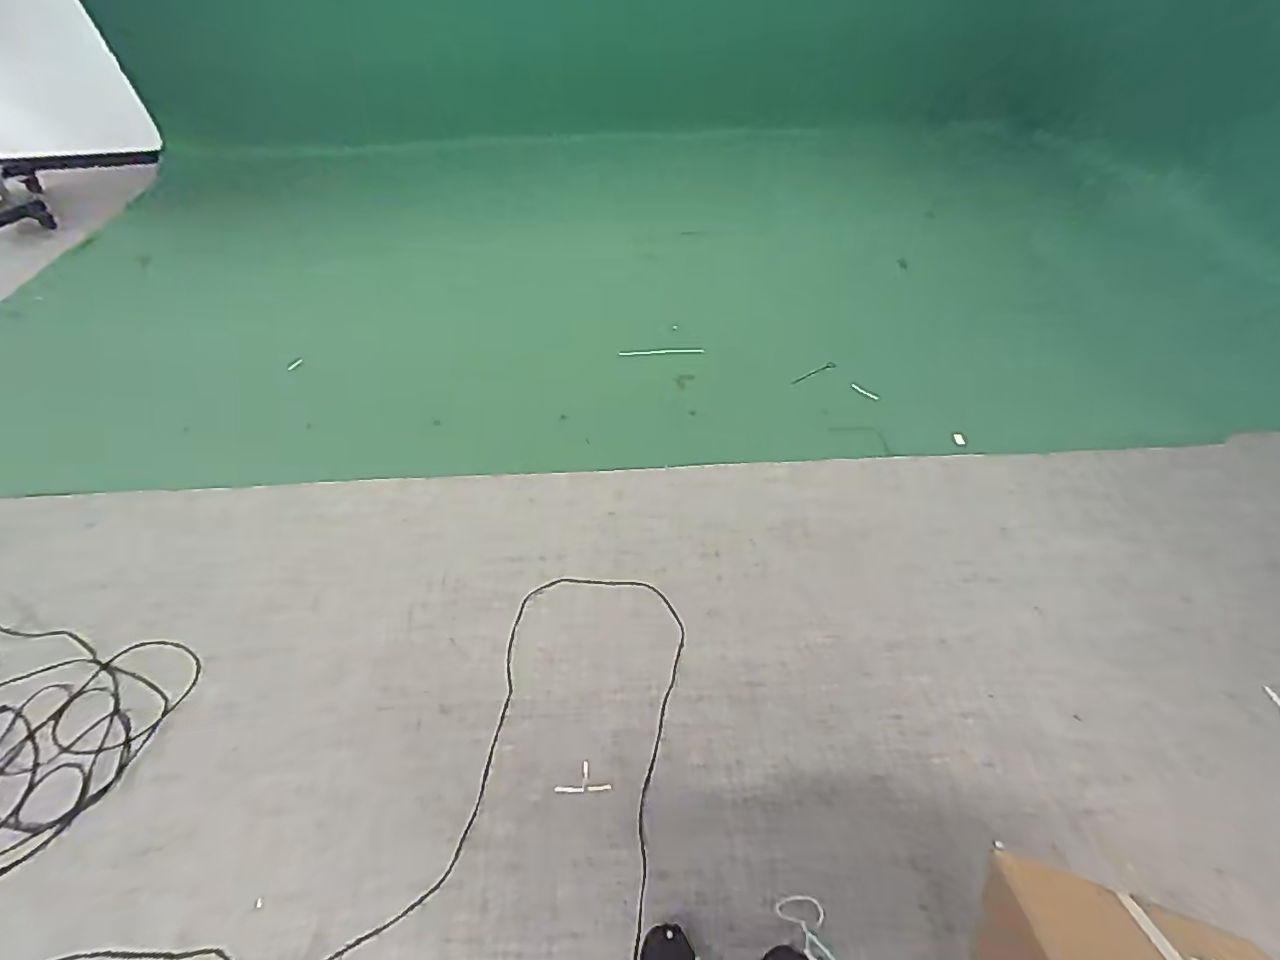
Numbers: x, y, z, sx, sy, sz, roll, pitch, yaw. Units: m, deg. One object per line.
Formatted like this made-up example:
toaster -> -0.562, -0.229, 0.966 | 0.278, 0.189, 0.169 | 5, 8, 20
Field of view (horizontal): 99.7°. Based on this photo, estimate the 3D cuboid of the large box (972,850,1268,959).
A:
large box -> 0.575, 0.713, 0.574 | 0.320, 0.408, 0.320 | 12, 89, 20
